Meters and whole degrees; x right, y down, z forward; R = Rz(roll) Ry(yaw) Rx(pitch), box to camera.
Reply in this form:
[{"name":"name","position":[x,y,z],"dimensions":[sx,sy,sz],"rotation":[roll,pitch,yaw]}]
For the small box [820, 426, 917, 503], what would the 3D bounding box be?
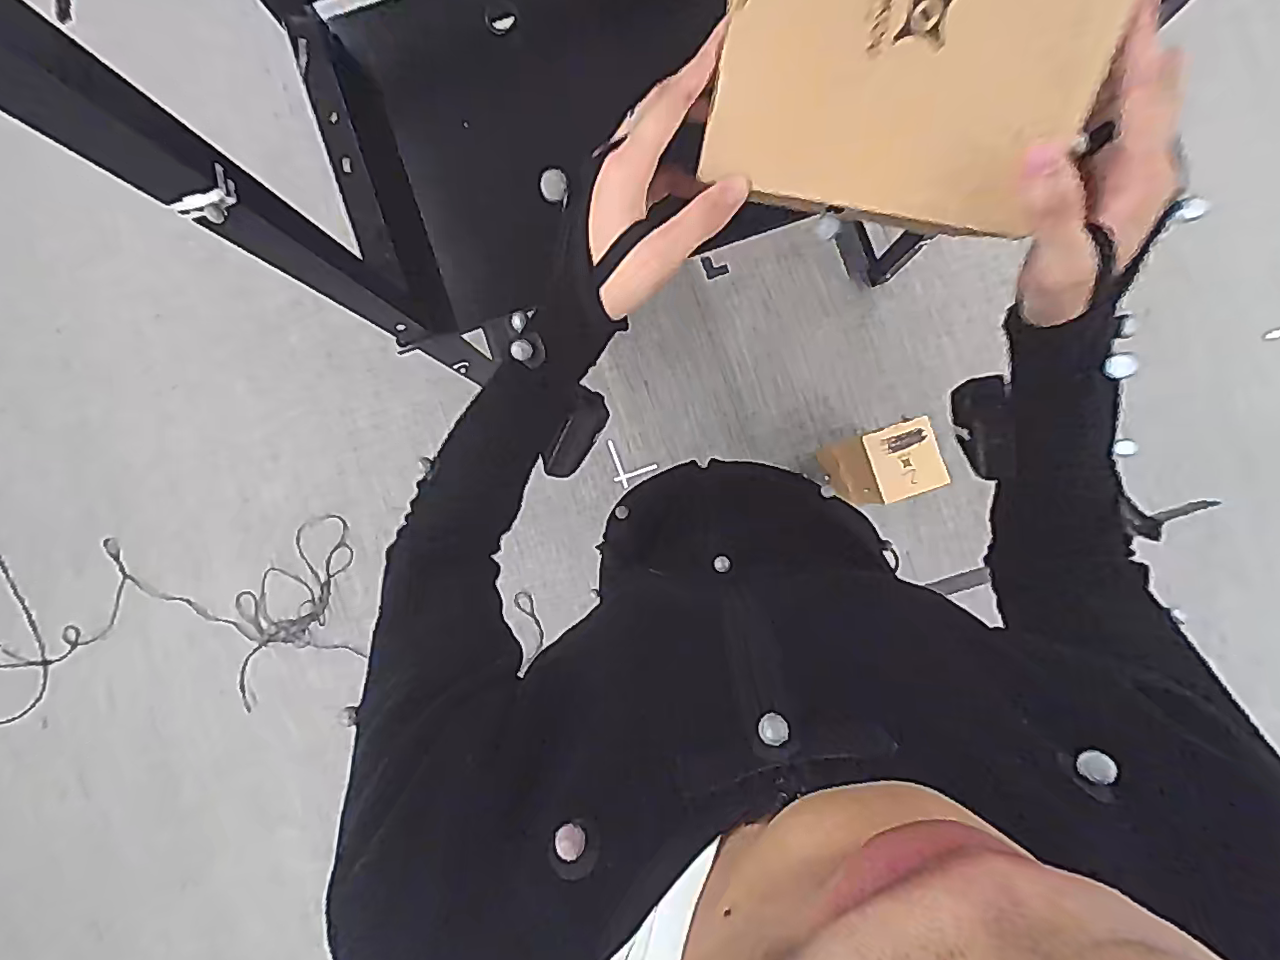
[{"name":"small box","position":[0.636,-0.042,1.525],"dimensions":[0.179,0.176,0.168],"rotation":[-21,88,2]}]
